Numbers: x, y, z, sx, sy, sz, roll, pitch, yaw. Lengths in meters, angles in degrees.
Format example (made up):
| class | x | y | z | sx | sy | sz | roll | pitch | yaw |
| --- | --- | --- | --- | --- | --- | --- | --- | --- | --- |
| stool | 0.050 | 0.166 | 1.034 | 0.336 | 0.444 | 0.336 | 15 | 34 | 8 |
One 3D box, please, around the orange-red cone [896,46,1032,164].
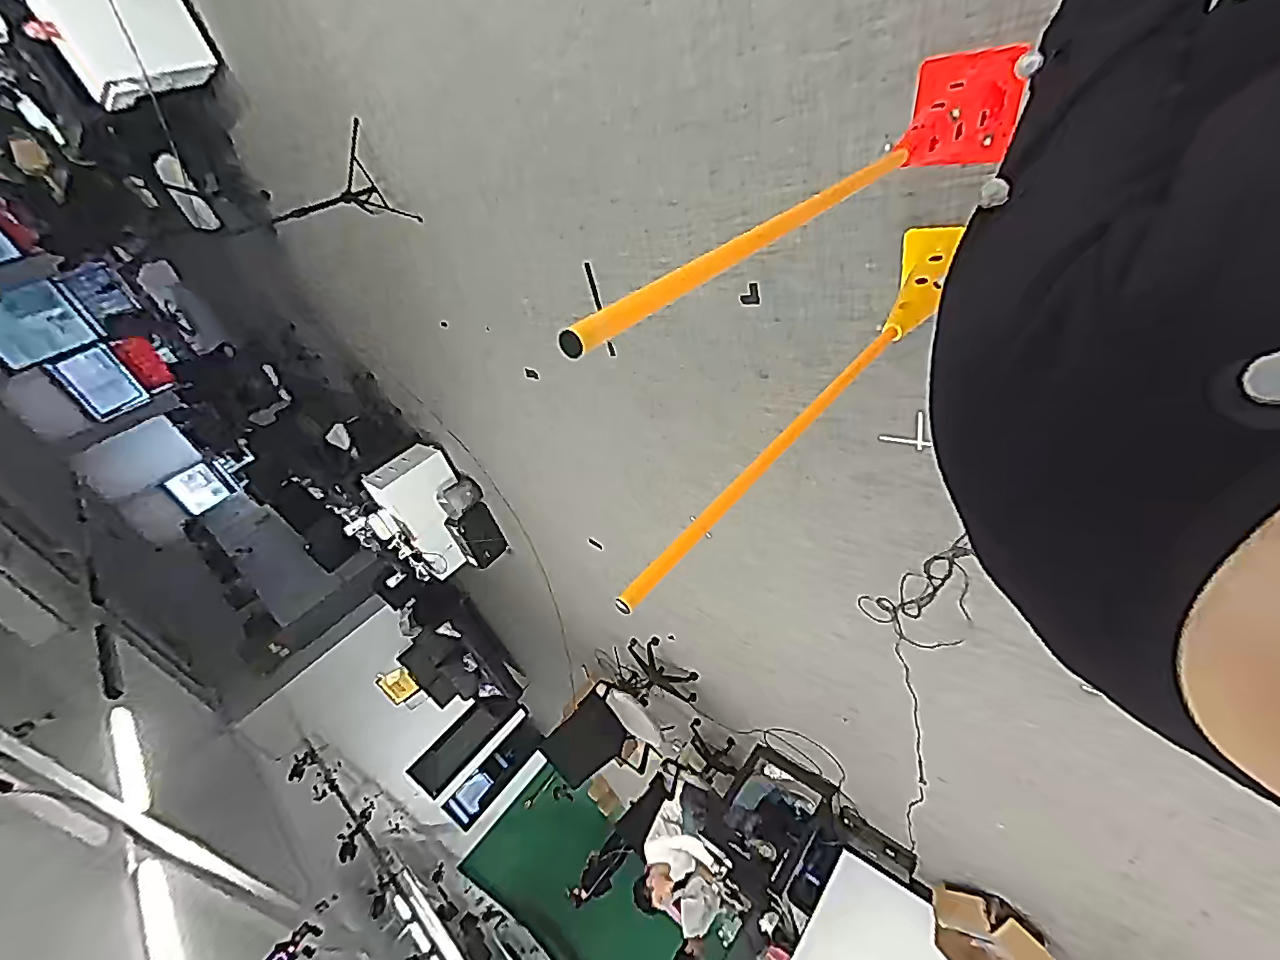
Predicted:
| class | x | y | z | sx | sy | sz | roll | pitch | yaw |
| --- | --- | --- | --- | --- | --- | --- | --- | --- | --- |
| orange-red cone | 0.569 | -0.670 | 1.028 | 0.198 | 0.360 | 0.199 | 22 | 139 | 34 |
